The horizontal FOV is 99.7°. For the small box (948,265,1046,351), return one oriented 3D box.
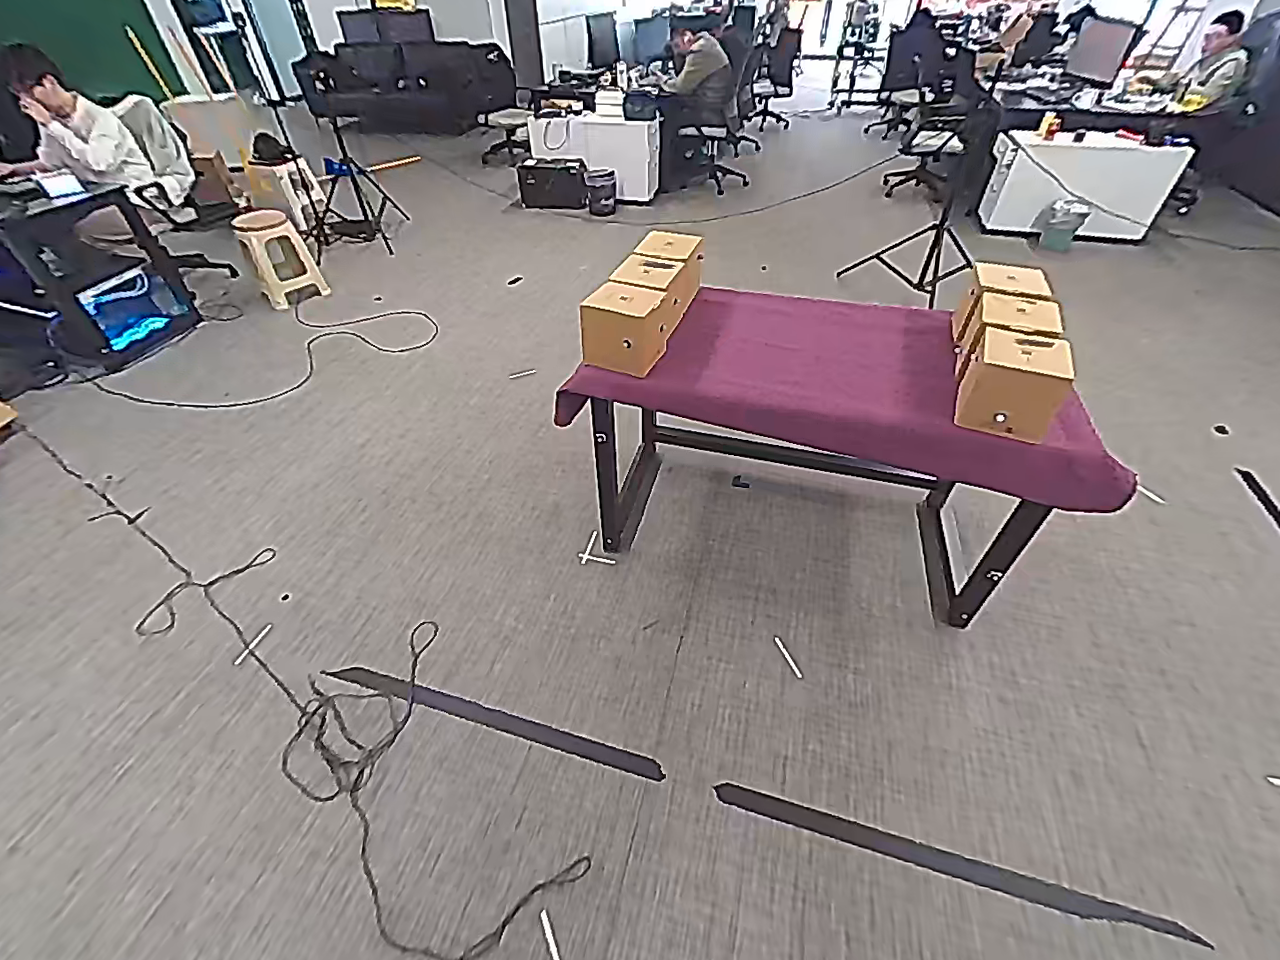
[{"bbox_3d":[0.962,-0.462,1.475,0.168,0.176,0.179,14,45,14],"label":"small box"}]

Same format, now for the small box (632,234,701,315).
[{"bbox_3d":[0.079,-0.633,1.662,0.168,0.176,0.179,14,46,15],"label":"small box"}]

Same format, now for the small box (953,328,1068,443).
[{"bbox_3d":[0.826,-0.213,1.213,0.168,0.176,0.179,18,50,23],"label":"small box"}]
